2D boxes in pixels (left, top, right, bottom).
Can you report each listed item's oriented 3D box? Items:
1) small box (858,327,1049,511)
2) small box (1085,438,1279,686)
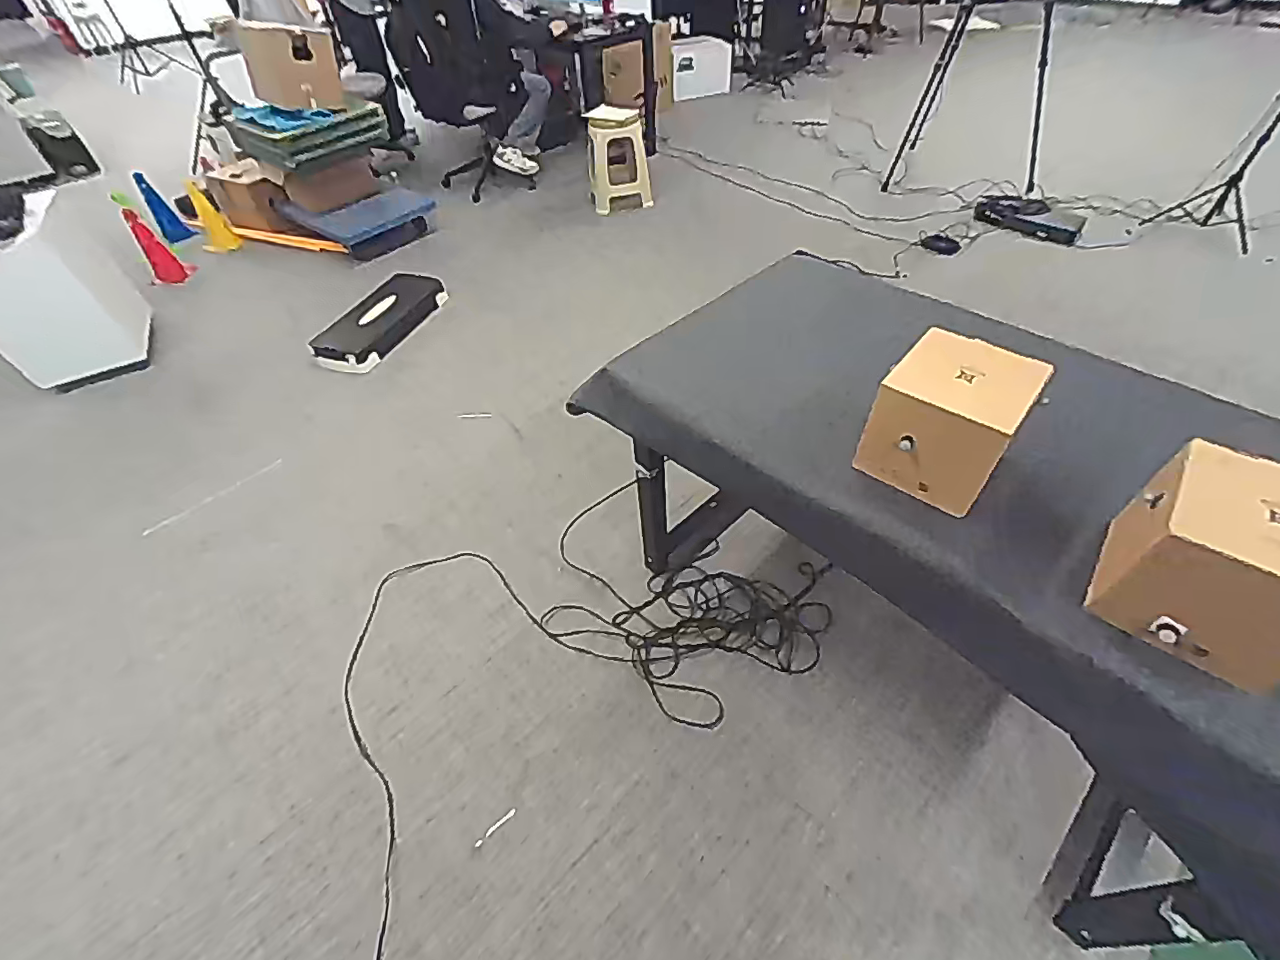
[{"bbox_3d":[0.437,-0.086,0.780,0.168,0.176,0.179,31,56,28],"label":"small box"},{"bbox_3d":[0.650,0.091,0.608,0.168,0.176,0.179,29,57,28],"label":"small box"}]
